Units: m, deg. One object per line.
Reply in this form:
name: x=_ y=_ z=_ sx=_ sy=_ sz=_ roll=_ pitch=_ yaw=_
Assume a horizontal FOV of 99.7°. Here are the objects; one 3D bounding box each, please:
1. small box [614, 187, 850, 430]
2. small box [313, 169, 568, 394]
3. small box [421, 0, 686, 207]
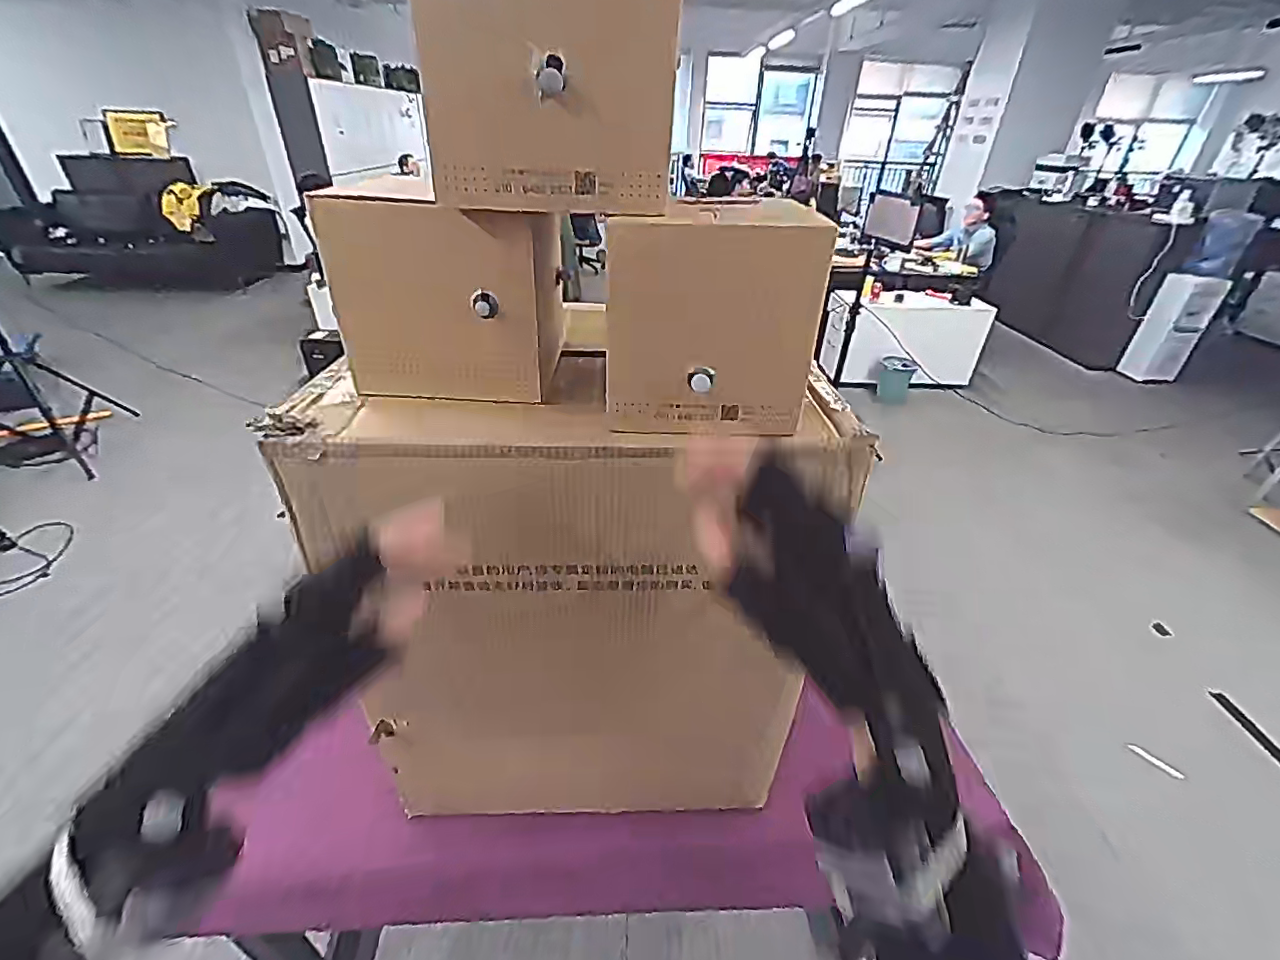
small box: x=0.062 y=-0.160 z=0.485 sx=0.168 sy=0.176 sz=0.179 roll=1 pitch=34 yaw=-1
small box: x=-0.164 y=-0.191 z=0.517 sx=0.179 sy=0.176 sz=0.168 roll=2 pitch=32 yaw=-2
small box: x=-0.059 y=-0.311 z=0.411 sx=0.168 sy=0.176 sz=0.179 roll=-1 pitch=33 yaw=-7
